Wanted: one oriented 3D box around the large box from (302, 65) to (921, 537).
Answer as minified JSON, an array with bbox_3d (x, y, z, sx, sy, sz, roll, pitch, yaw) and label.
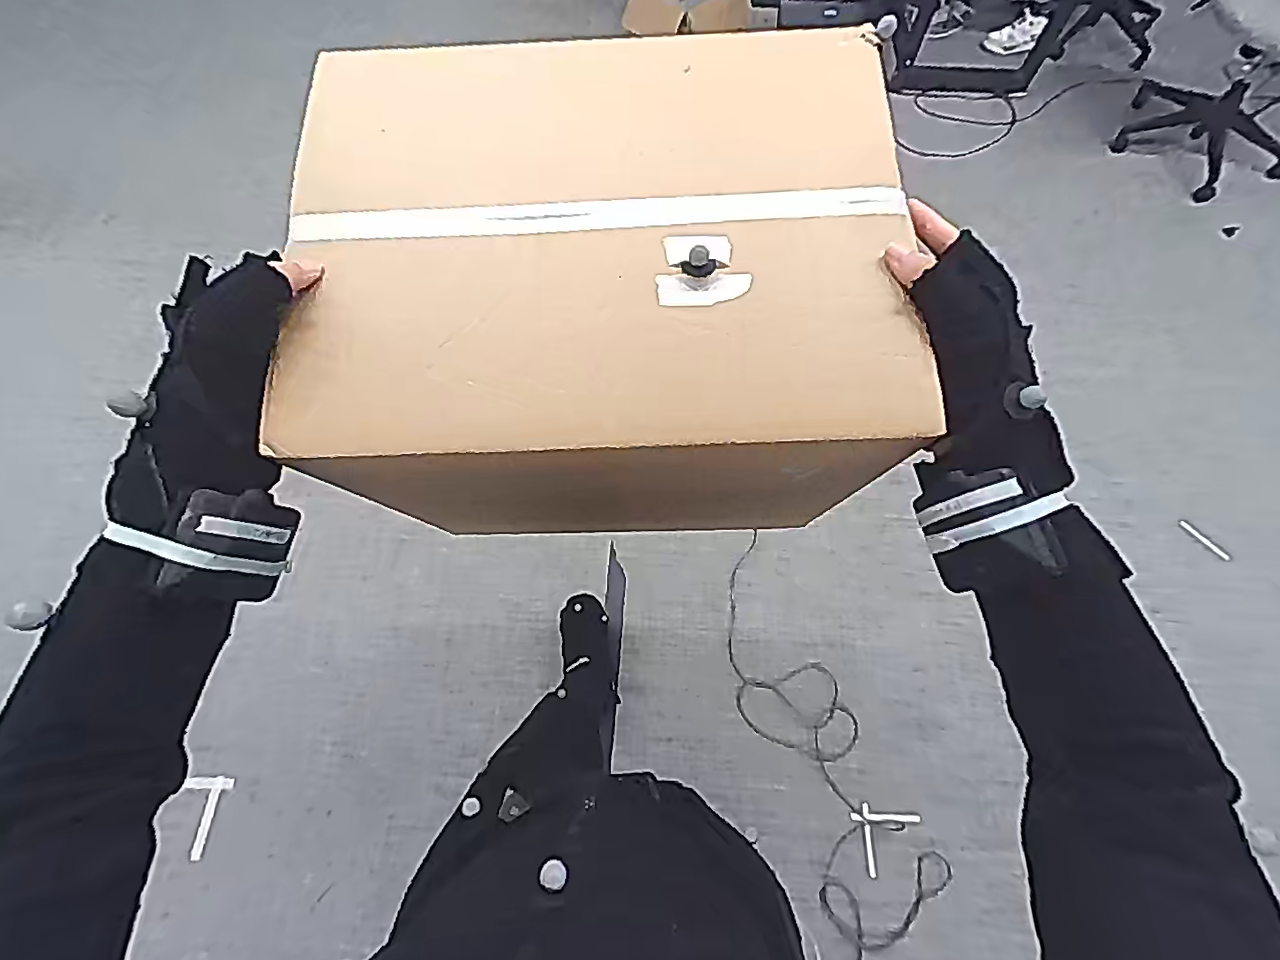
[{"bbox_3d":[-0.022,-0.128,0.525,0.408,0.320,0.320,-2,75,1],"label":"large box"}]
